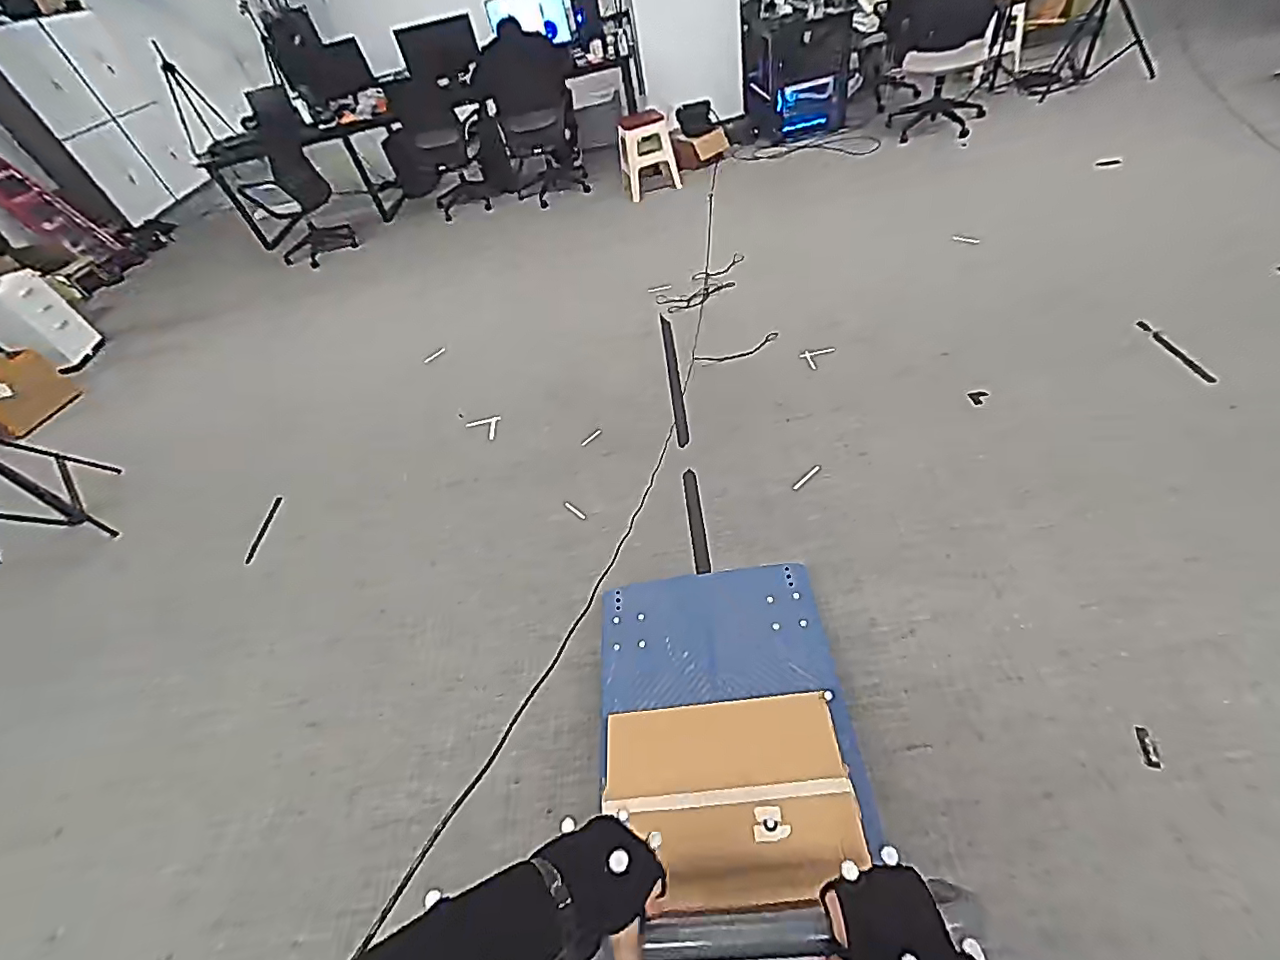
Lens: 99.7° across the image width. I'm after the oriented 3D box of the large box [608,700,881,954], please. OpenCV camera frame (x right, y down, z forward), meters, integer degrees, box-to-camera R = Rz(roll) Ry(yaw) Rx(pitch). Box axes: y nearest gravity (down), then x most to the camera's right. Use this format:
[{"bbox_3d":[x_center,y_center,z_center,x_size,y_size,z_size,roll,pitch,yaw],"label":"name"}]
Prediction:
[{"bbox_3d":[0.168,0.640,0.991,0.408,0.320,0.320,-9,46,6],"label":"large box"}]
